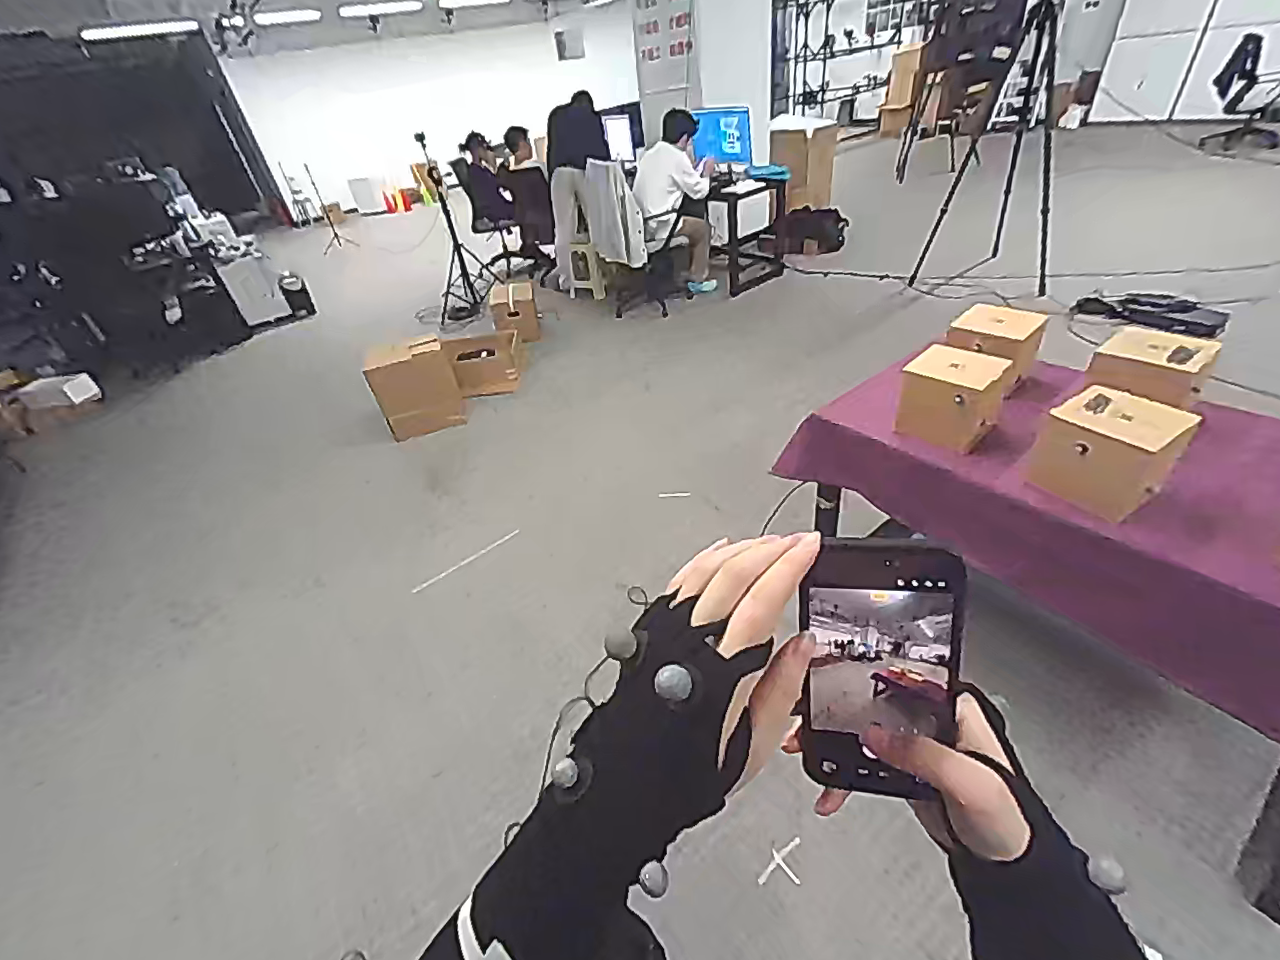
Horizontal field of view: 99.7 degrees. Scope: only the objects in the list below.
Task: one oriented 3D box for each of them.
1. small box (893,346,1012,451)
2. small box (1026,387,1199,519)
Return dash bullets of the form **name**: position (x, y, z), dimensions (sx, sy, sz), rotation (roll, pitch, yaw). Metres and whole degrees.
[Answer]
- **small box**: position (0.724, -0.191, 1.270), dimensions (0.168, 0.176, 0.179), rotation (-34, 44, -29)
- **small box**: position (0.899, -0.054, 1.049), dimensions (0.168, 0.176, 0.179), rotation (-25, 40, -20)
